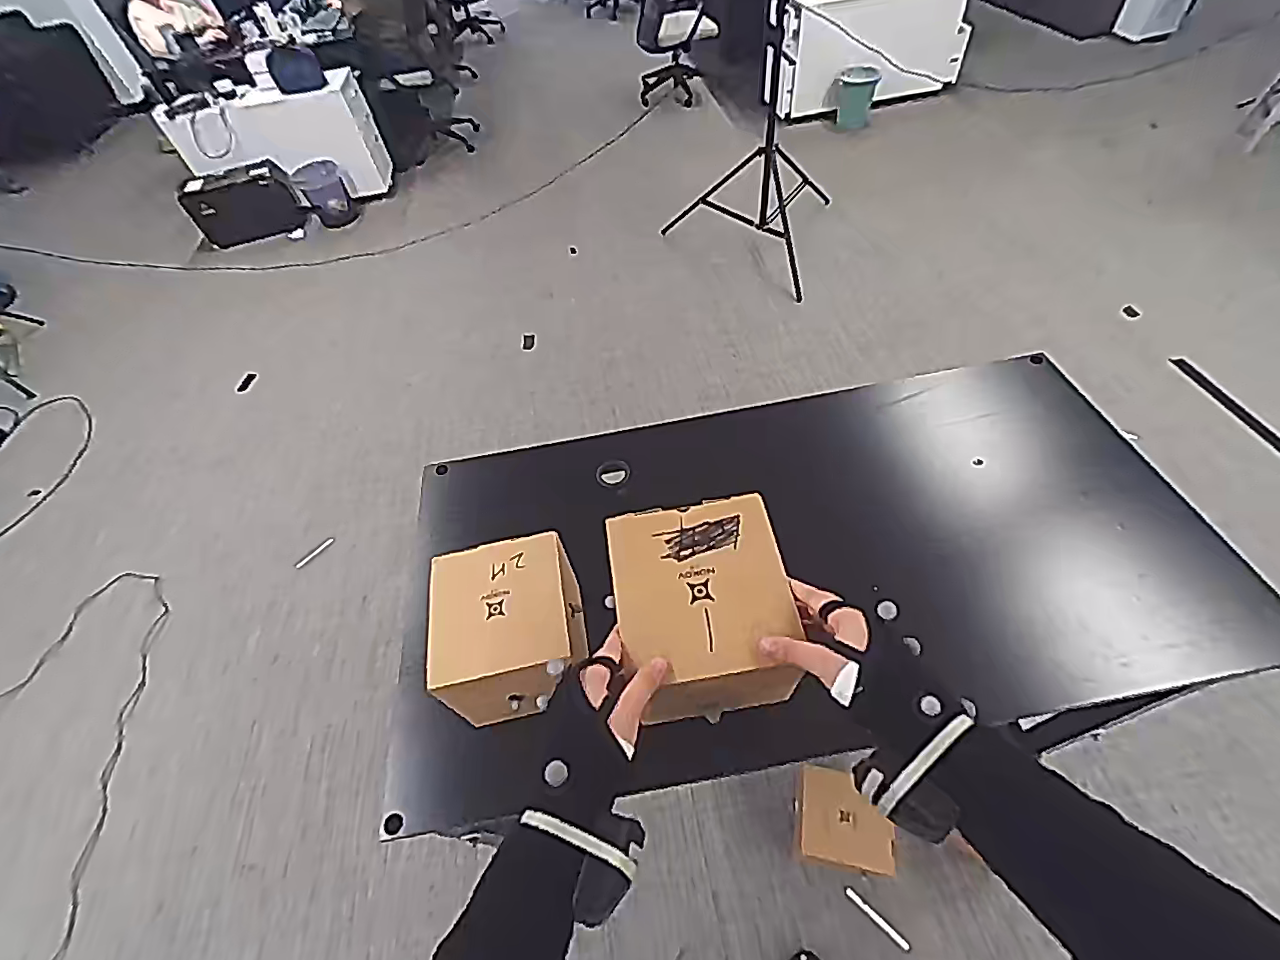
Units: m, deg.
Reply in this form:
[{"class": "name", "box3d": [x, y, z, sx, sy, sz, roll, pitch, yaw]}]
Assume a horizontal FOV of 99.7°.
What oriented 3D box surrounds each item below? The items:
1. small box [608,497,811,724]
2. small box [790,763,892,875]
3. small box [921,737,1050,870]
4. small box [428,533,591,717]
[{"class": "small box", "box3d": [0.063, 0.144, 0.578, 0.168, 0.176, 0.179, -10, 57, 0]}, {"class": "small box", "box3d": [0.426, 0.731, 1.163, 0.179, 0.176, 0.168, 5, 53, 13]}, {"class": "small box", "box3d": [0.726, 0.690, 1.152, 0.168, 0.176, 0.179, 26, 60, 24]}, {"class": "small box", "box3d": [-0.166, 0.200, 0.720, 0.168, 0.176, 0.179, -12, 52, -3]}]
